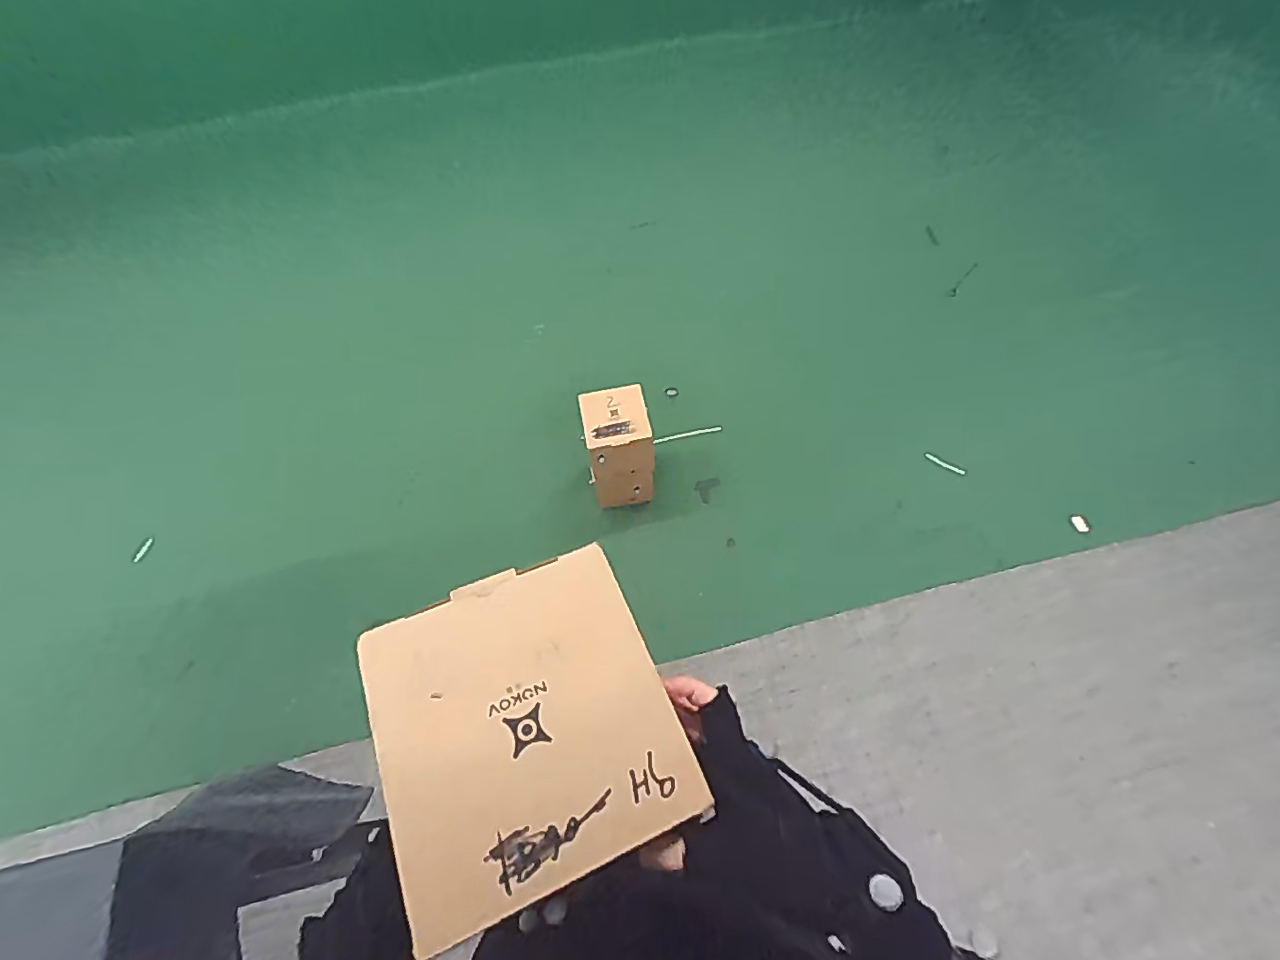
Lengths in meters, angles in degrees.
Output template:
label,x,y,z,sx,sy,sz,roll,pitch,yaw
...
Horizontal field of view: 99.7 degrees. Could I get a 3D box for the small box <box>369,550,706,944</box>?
label,x,y,z,sx,sy,sz,roll,pitch,yaw
small box,-0.072,0.184,0.396,0.168,0.176,0.179,-20,61,-13

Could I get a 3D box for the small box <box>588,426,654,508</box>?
label,x,y,z,sx,sy,sz,roll,pitch,yaw
small box,-0.054,-0.031,1.581,0.168,0.176,0.179,-9,61,-2
